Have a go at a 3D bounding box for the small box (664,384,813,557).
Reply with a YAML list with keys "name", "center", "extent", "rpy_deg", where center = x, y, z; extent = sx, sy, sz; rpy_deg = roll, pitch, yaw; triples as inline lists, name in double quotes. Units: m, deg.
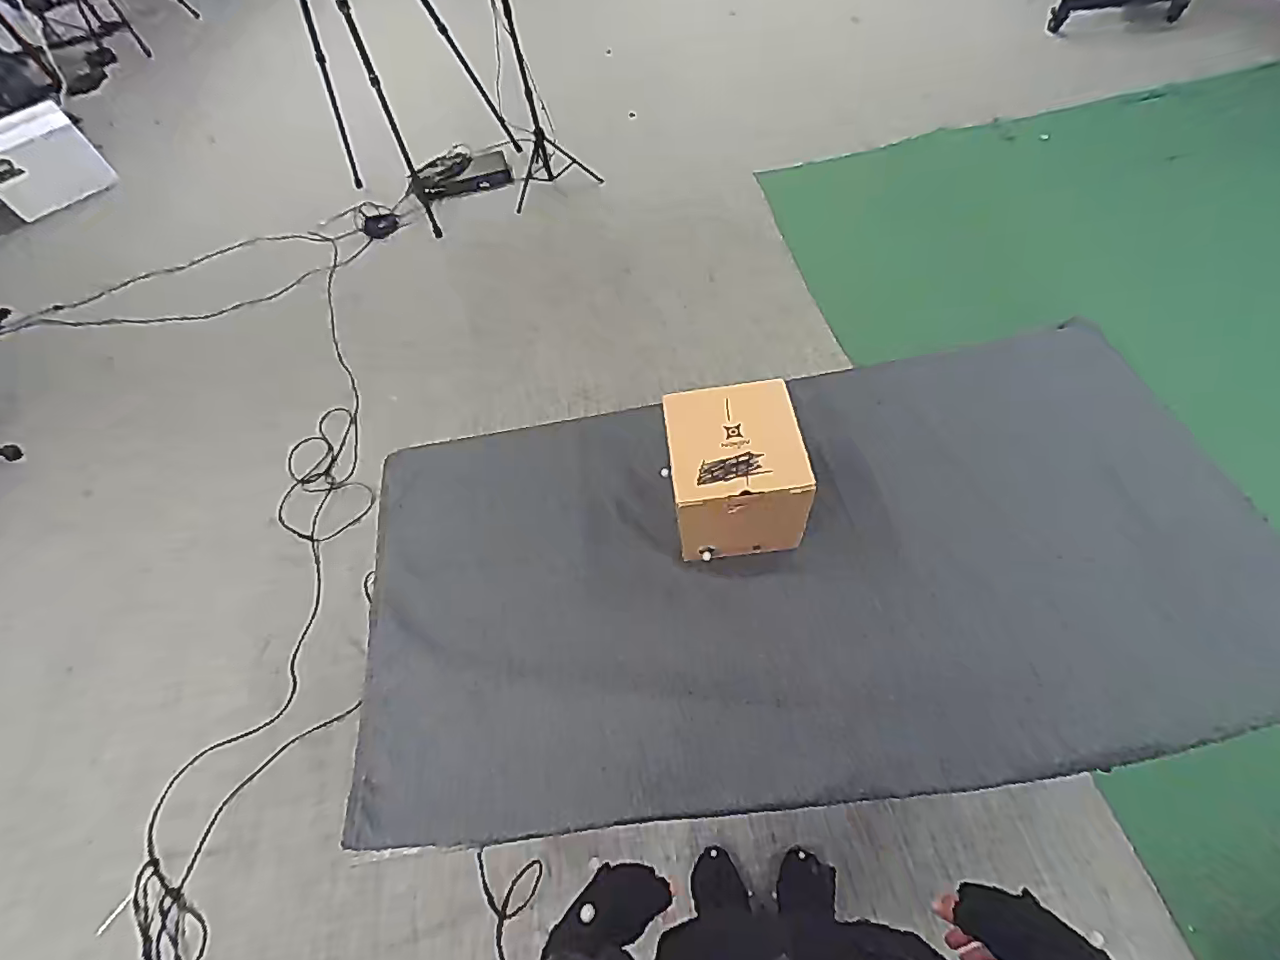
- name: "small box"
  center: [0.128, -0.004, 0.746]
  extent: [0.168, 0.176, 0.179]
  rpy_deg: [-7, 57, 3]
